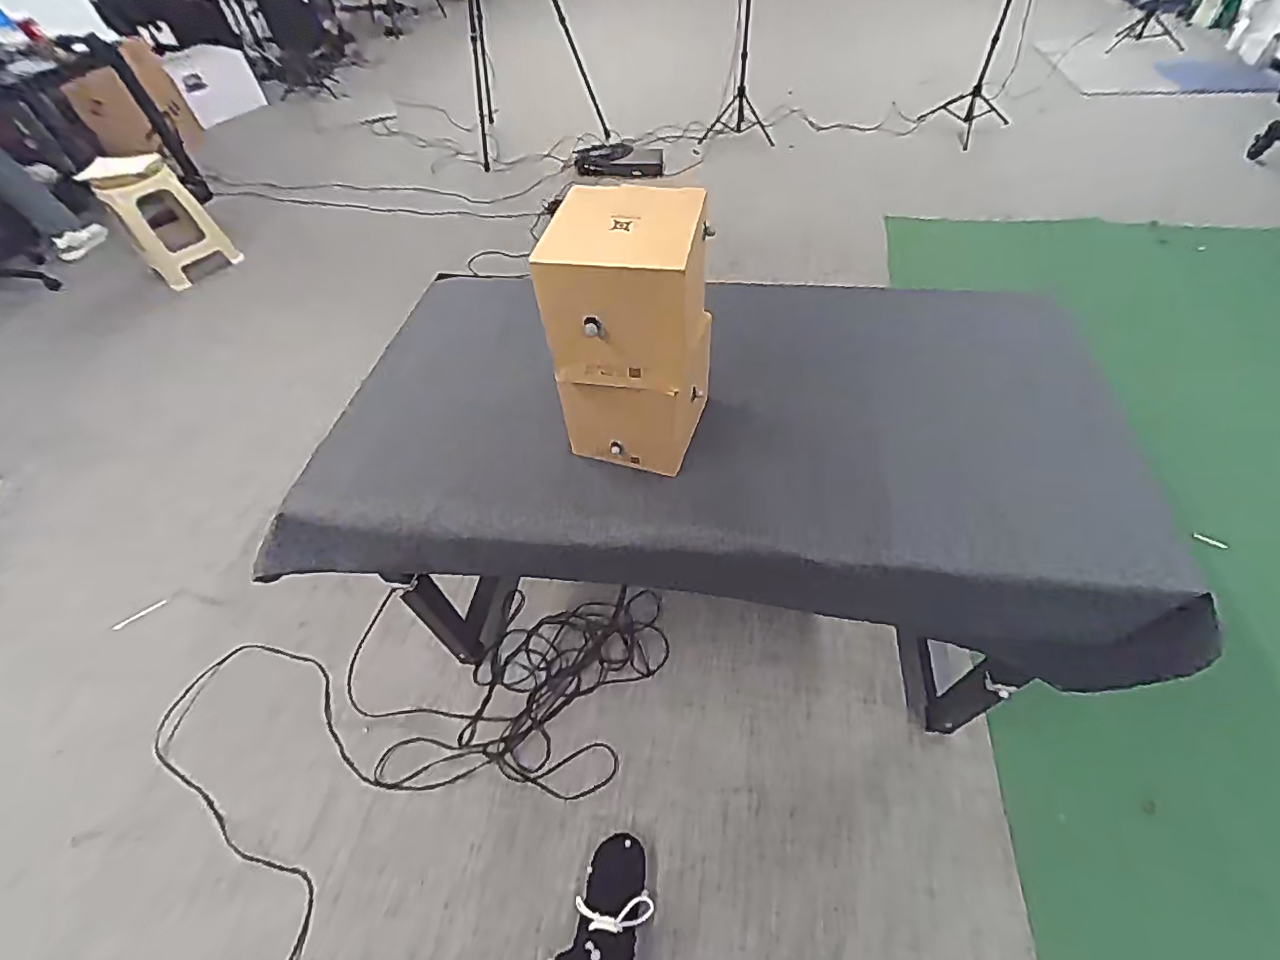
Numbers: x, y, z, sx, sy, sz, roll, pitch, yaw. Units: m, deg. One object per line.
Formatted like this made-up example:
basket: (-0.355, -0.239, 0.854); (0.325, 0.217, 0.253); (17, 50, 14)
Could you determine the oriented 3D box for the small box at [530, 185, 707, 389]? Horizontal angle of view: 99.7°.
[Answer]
small box: (-0.013, -0.230, 0.652); (0.168, 0.176, 0.179); (7, 53, 9)
